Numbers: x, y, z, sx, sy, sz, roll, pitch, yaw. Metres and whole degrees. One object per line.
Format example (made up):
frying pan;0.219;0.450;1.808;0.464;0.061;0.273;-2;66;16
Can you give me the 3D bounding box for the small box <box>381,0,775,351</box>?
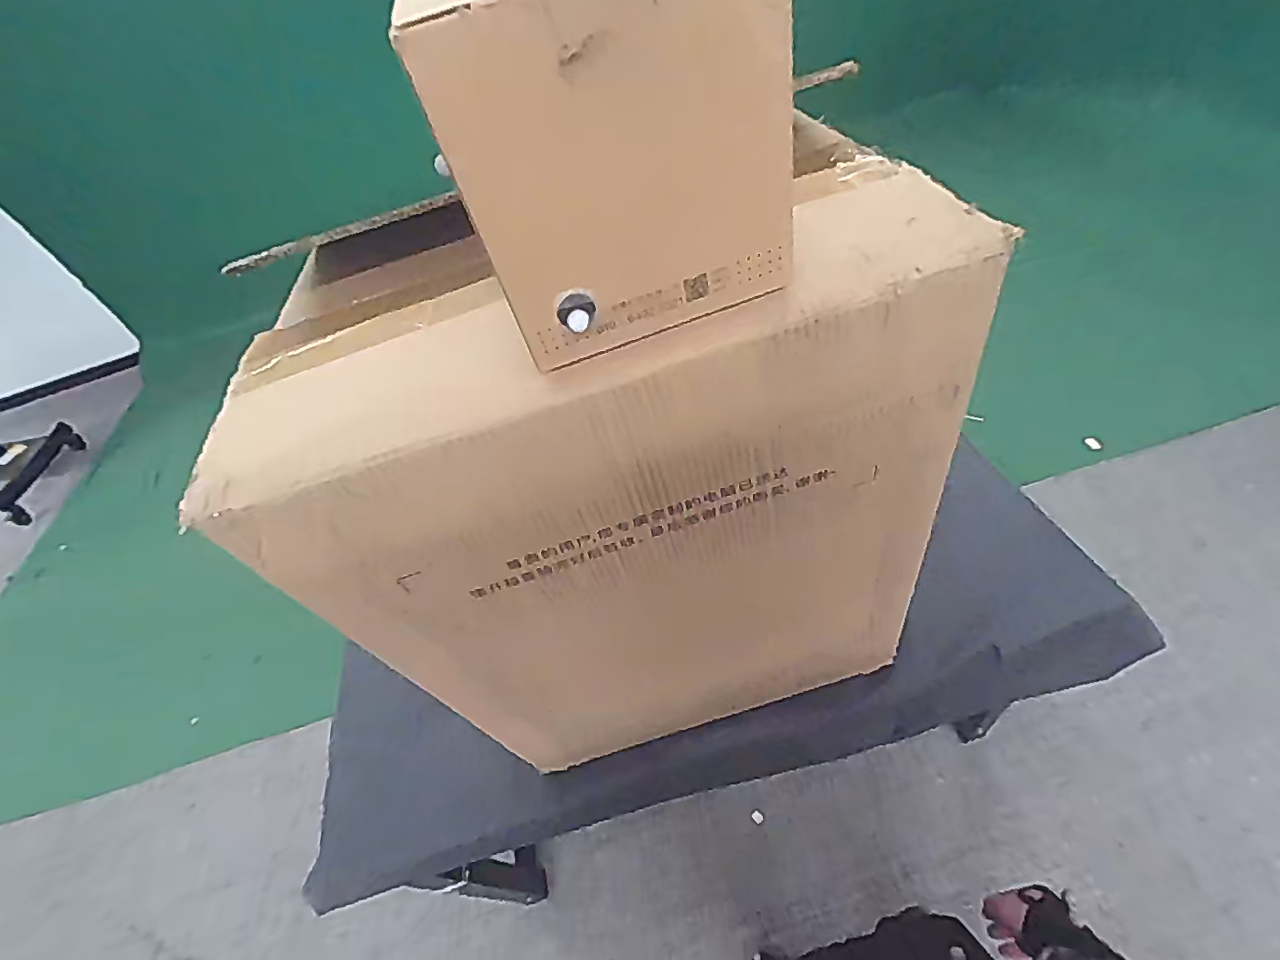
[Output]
small box;-0.028;-0.199;0.325;0.168;0.176;0.179;-20;47;-1
